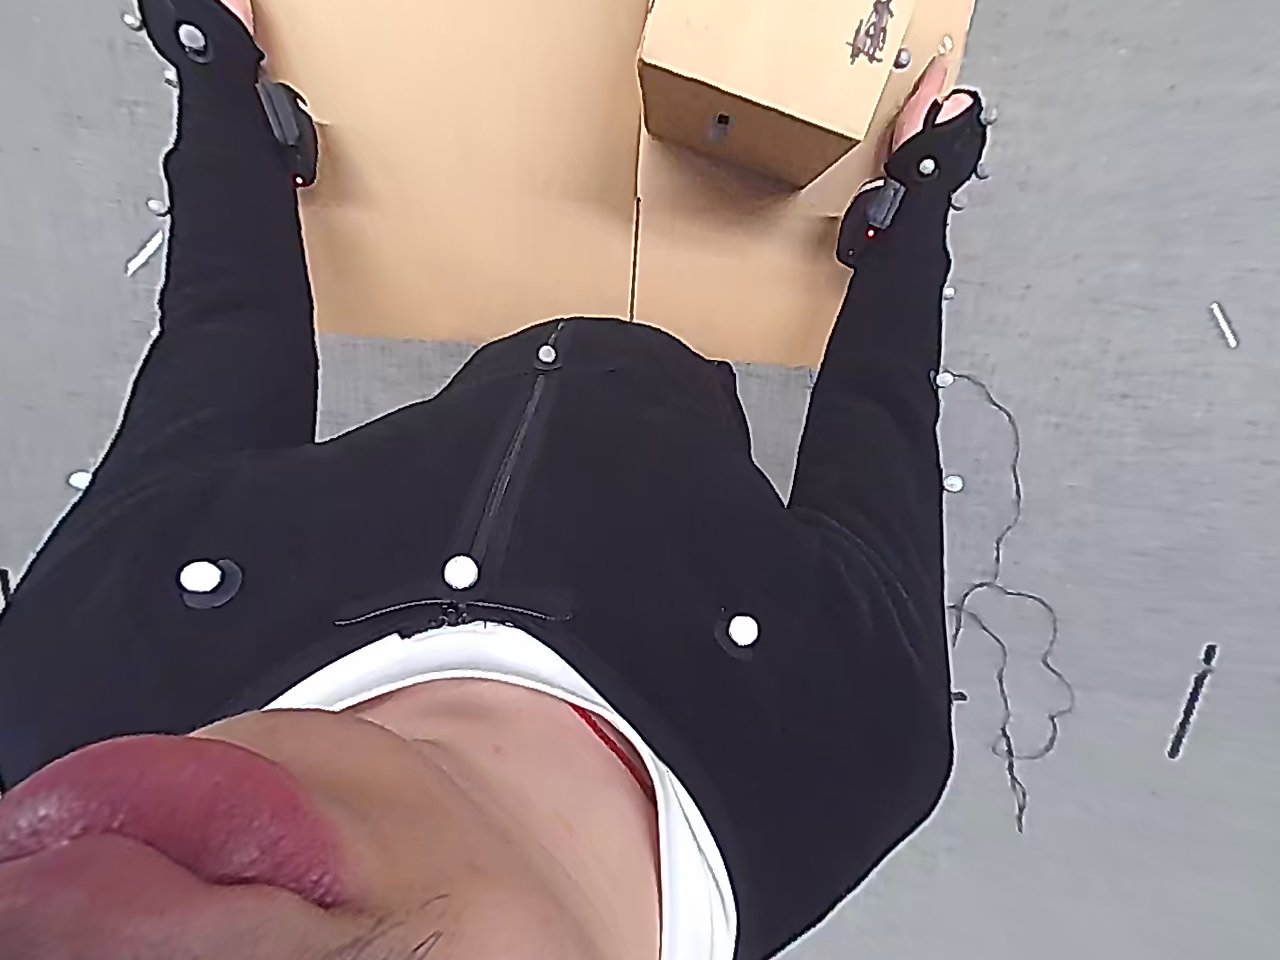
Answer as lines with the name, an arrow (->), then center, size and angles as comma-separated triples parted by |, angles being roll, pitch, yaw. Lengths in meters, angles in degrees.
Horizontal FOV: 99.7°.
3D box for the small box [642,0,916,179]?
small box -> 0.112, -0.376, 0.448 | 0.179, 0.176, 0.168 | 18, 108, -3
